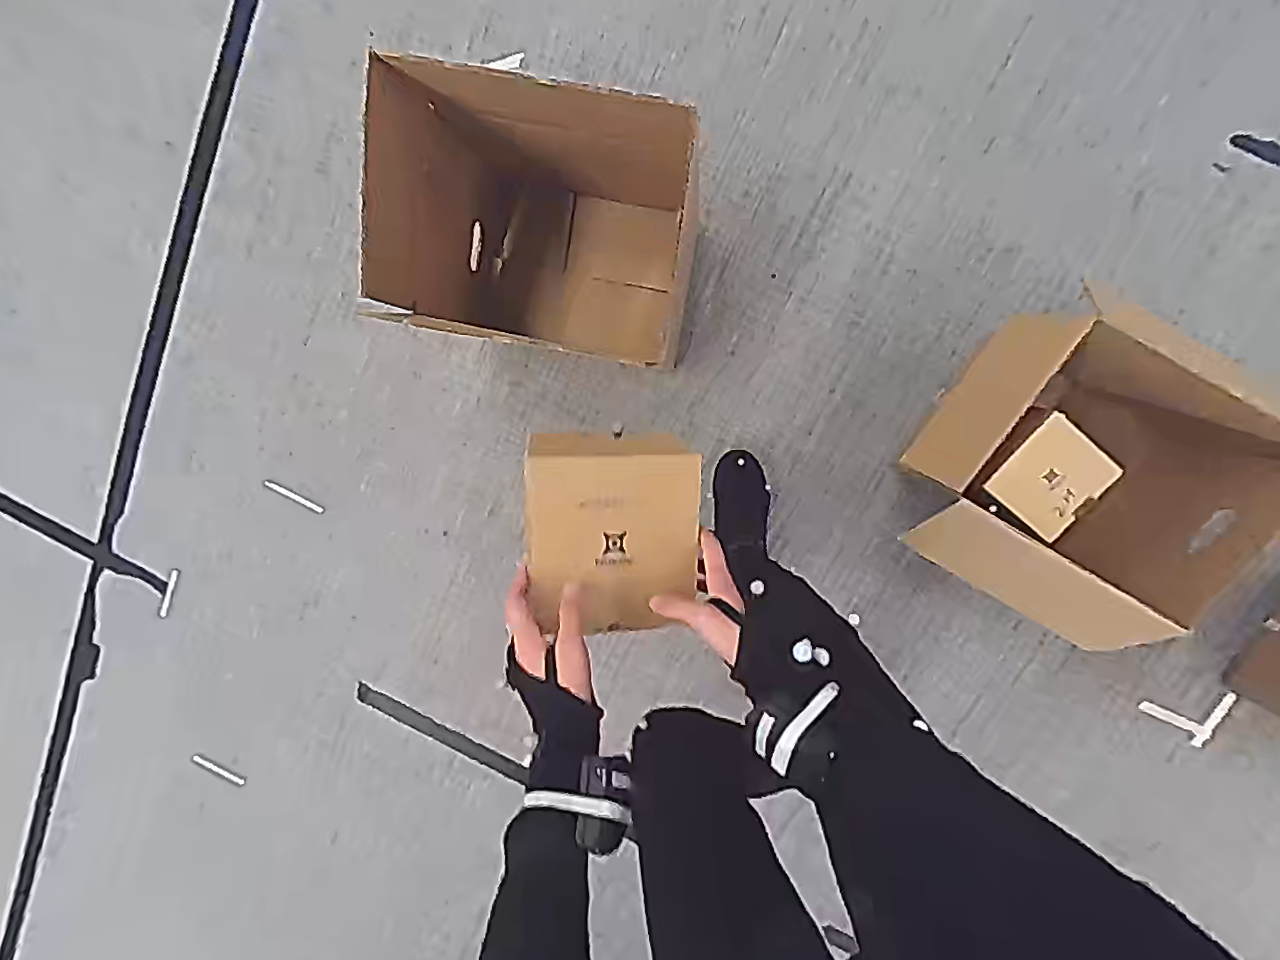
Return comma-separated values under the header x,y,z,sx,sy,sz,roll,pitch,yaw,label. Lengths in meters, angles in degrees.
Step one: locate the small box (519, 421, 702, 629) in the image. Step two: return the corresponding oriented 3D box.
x,y,z,sx,sy,sz,roll,pitch,yaw,label
-0.039,0.037,0.576,0.168,0.176,0.179,-1,104,-10,small box
